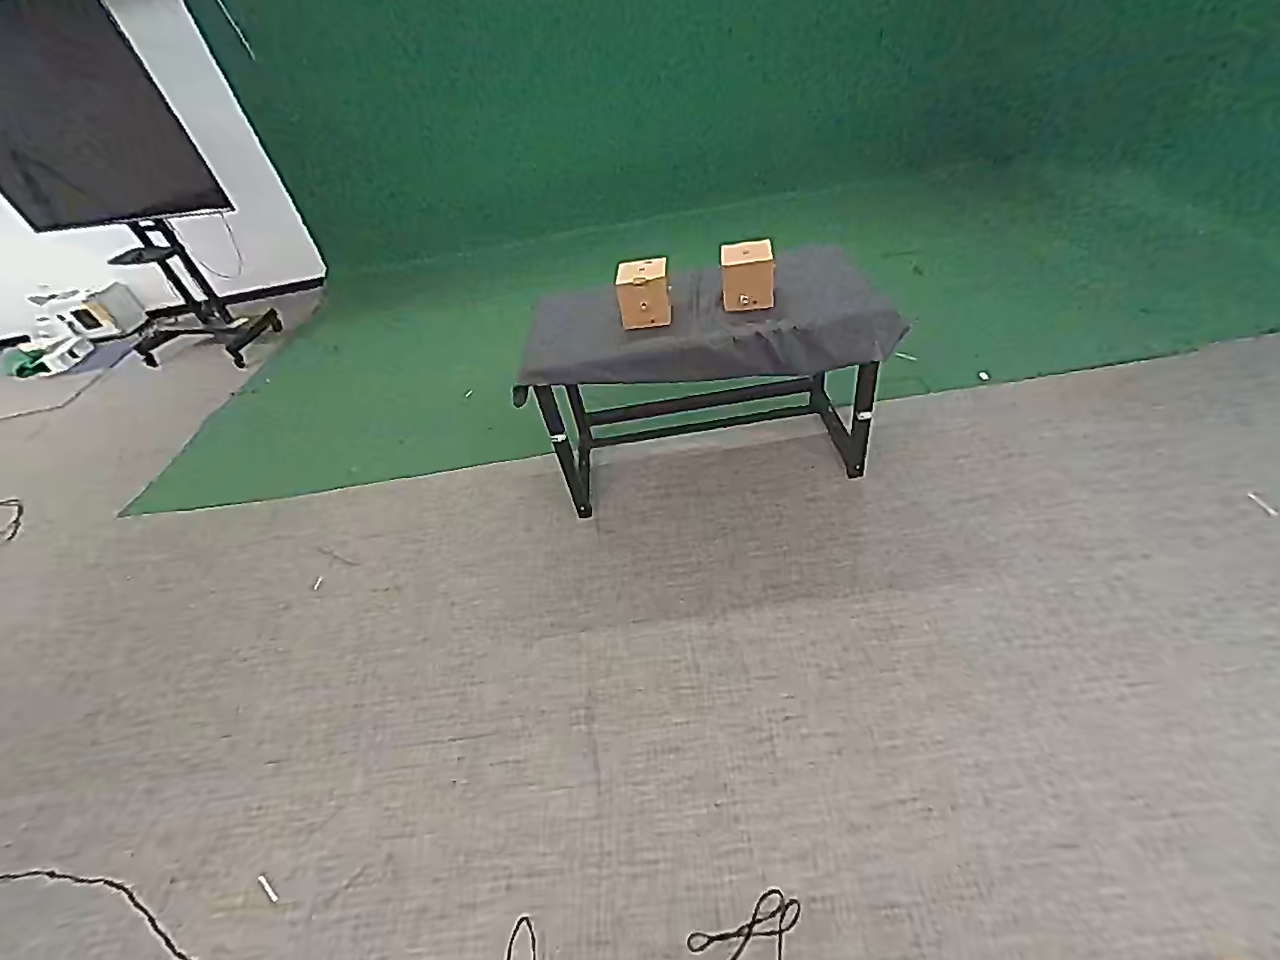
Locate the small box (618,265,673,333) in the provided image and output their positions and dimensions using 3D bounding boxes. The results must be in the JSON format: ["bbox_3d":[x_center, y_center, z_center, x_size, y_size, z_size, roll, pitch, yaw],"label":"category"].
[{"bbox_3d":[0.023,-0.625,1.889,0.168,0.176,0.179,-7,41,8],"label":"small box"}]

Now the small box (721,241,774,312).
[{"bbox_3d":[0.369,-0.693,1.850,0.168,0.176,0.179,-3,42,14],"label":"small box"}]
